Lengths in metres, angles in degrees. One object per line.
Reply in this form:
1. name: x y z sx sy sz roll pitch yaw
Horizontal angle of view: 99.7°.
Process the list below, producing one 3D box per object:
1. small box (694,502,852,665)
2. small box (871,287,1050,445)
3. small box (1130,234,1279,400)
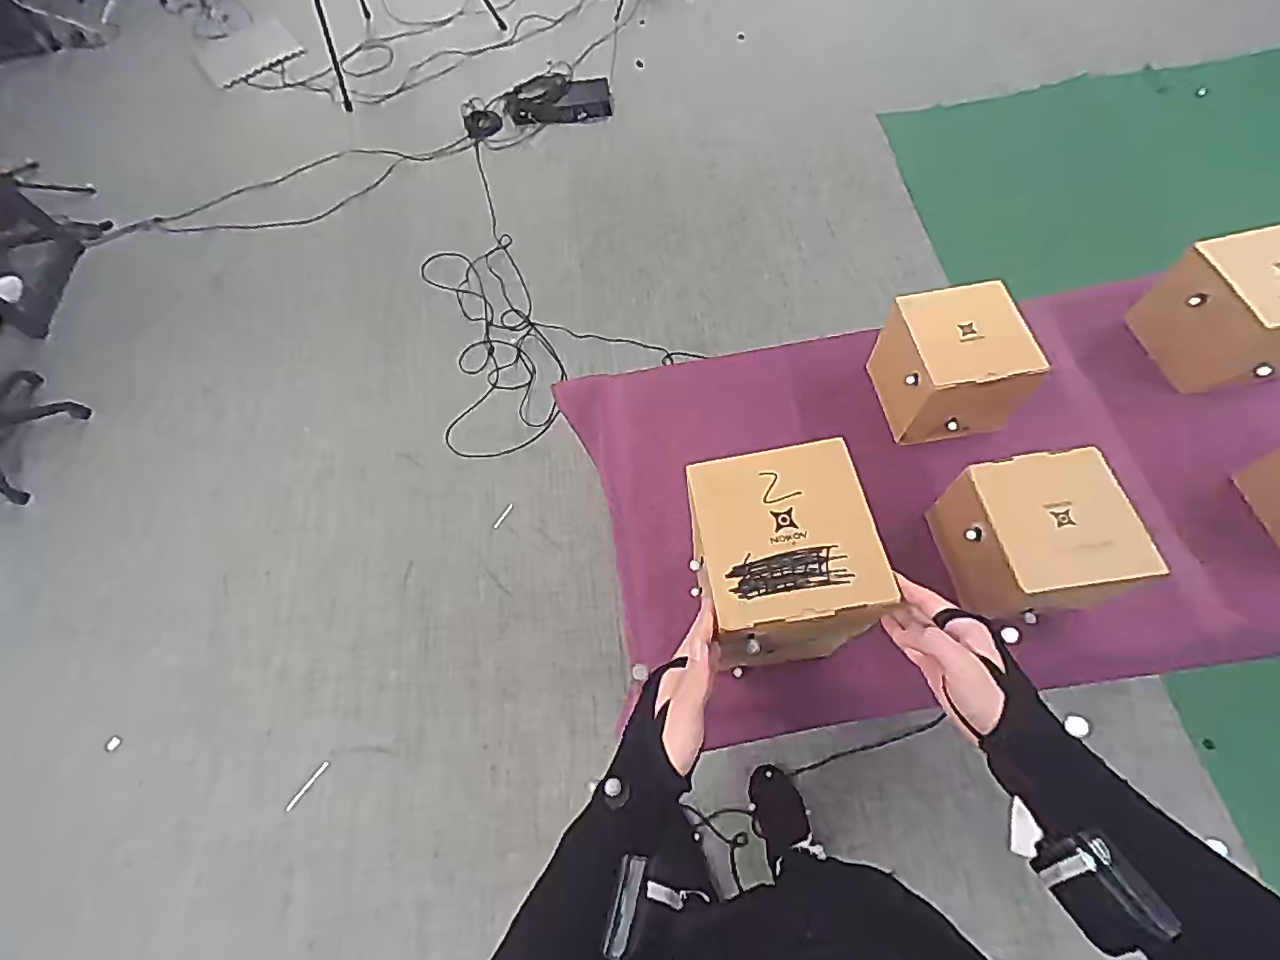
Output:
1. small box: 0.169 0.151 0.742 0.168 0.176 0.179 -8 62 2
2. small box: 0.496 -0.178 0.873 0.168 0.176 0.179 -8 65 2
3. small box: 0.945 -0.253 0.854 0.168 0.176 0.179 -11 64 4
